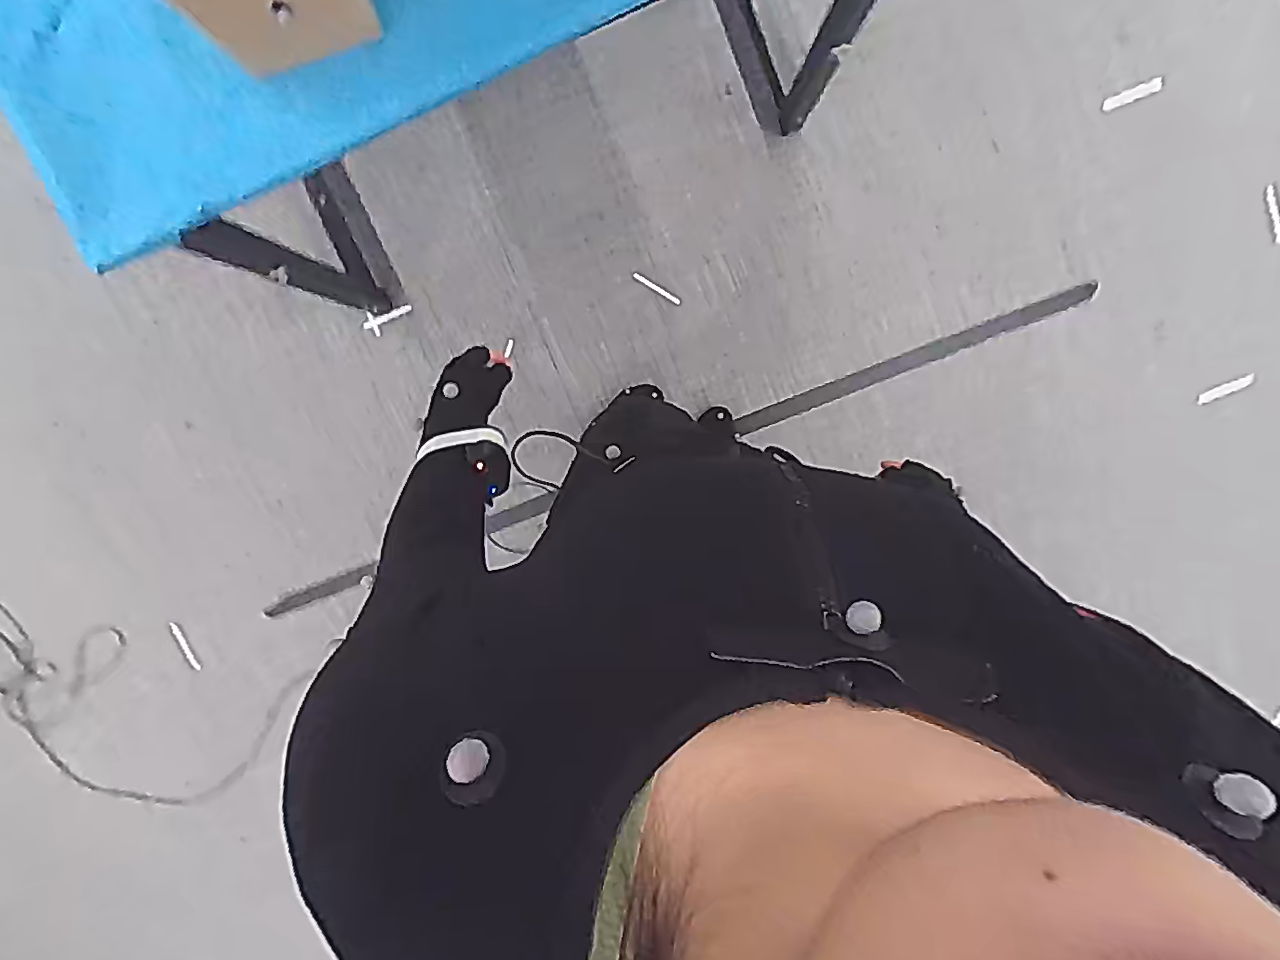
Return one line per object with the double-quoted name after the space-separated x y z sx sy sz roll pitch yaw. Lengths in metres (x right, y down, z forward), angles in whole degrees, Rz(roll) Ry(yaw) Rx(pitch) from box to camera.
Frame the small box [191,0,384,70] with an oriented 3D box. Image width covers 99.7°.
-0.407 -0.589 0.560 0.168 0.176 0.179 -18 99 1 "small box"
